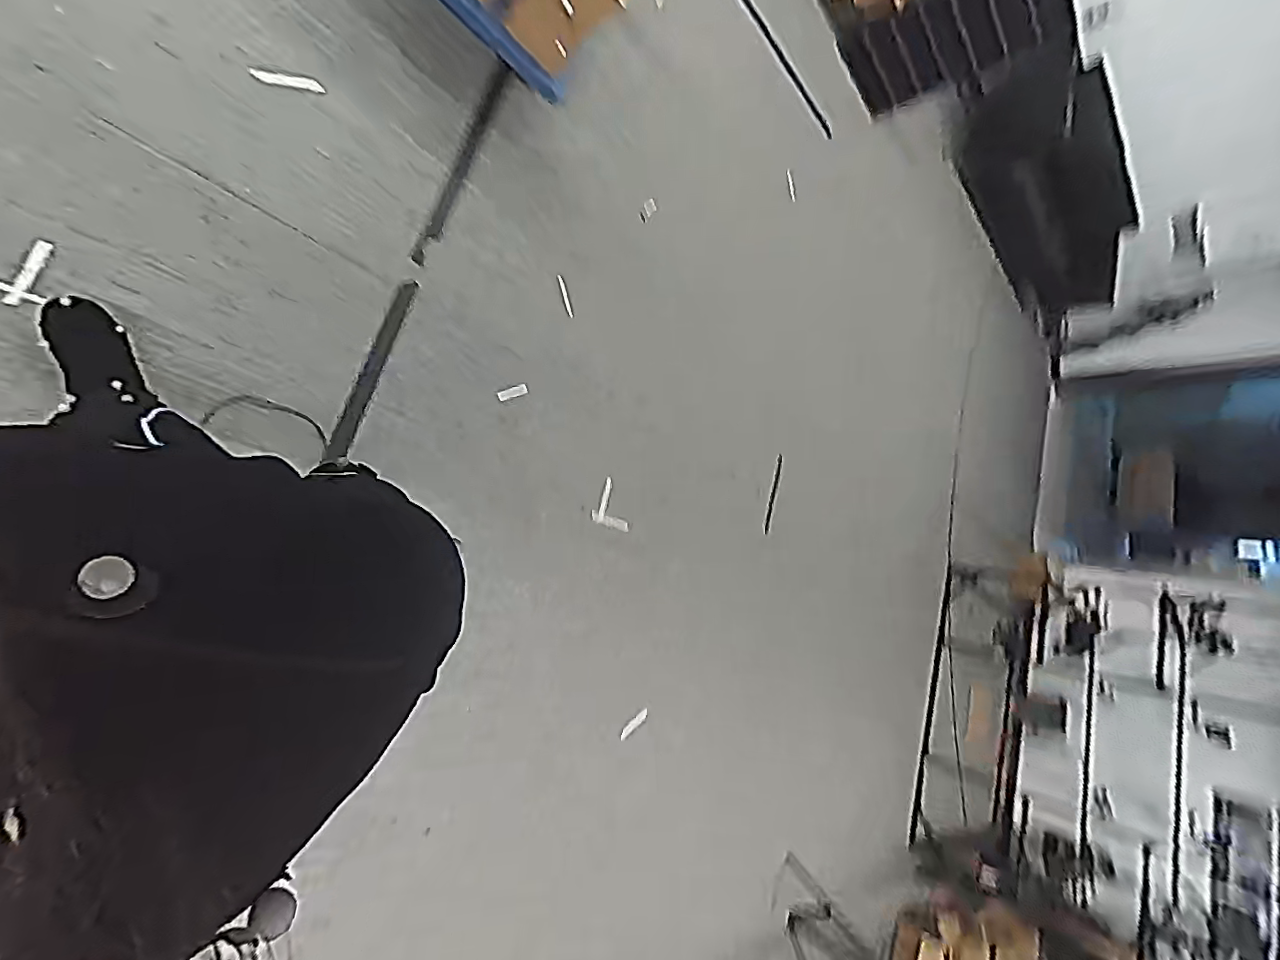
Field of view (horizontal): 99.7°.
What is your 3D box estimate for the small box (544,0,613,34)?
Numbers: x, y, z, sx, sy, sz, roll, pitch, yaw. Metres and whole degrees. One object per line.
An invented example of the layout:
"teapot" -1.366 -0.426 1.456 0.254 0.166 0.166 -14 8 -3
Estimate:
"small box" -0.145 -1.268 1.326 0.168 0.176 0.179 29 72 -40
